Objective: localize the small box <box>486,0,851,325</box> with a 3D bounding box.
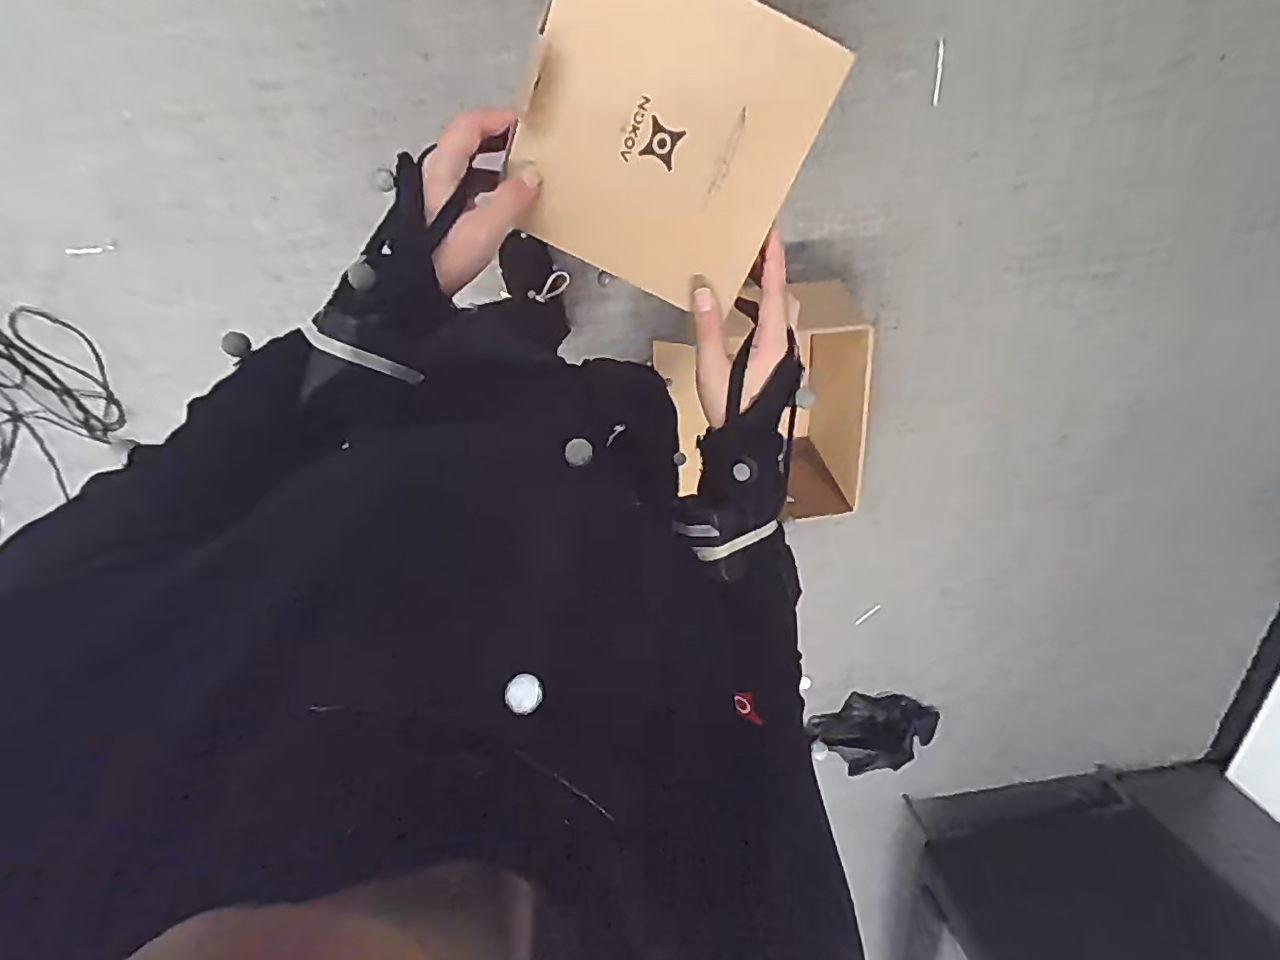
[{"bbox_3d":[0.018,-0.234,0.400,0.179,0.176,0.168,24,114,-3],"label":"small box"}]
